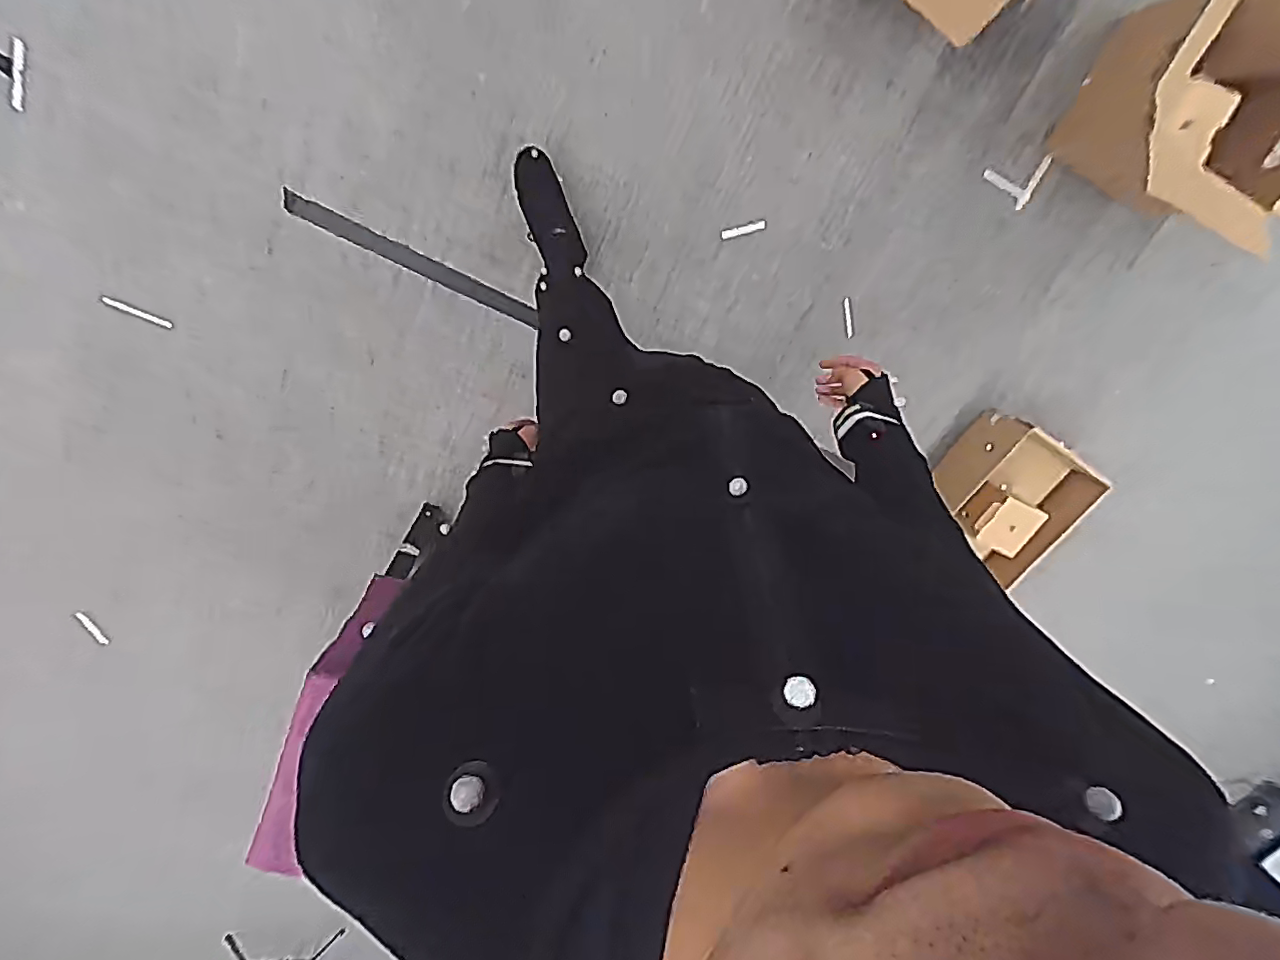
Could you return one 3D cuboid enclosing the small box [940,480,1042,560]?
[{"bbox_3d":[1.107,0.120,1.724,0.179,0.176,0.168,23,112,-16],"label":"small box"}]
